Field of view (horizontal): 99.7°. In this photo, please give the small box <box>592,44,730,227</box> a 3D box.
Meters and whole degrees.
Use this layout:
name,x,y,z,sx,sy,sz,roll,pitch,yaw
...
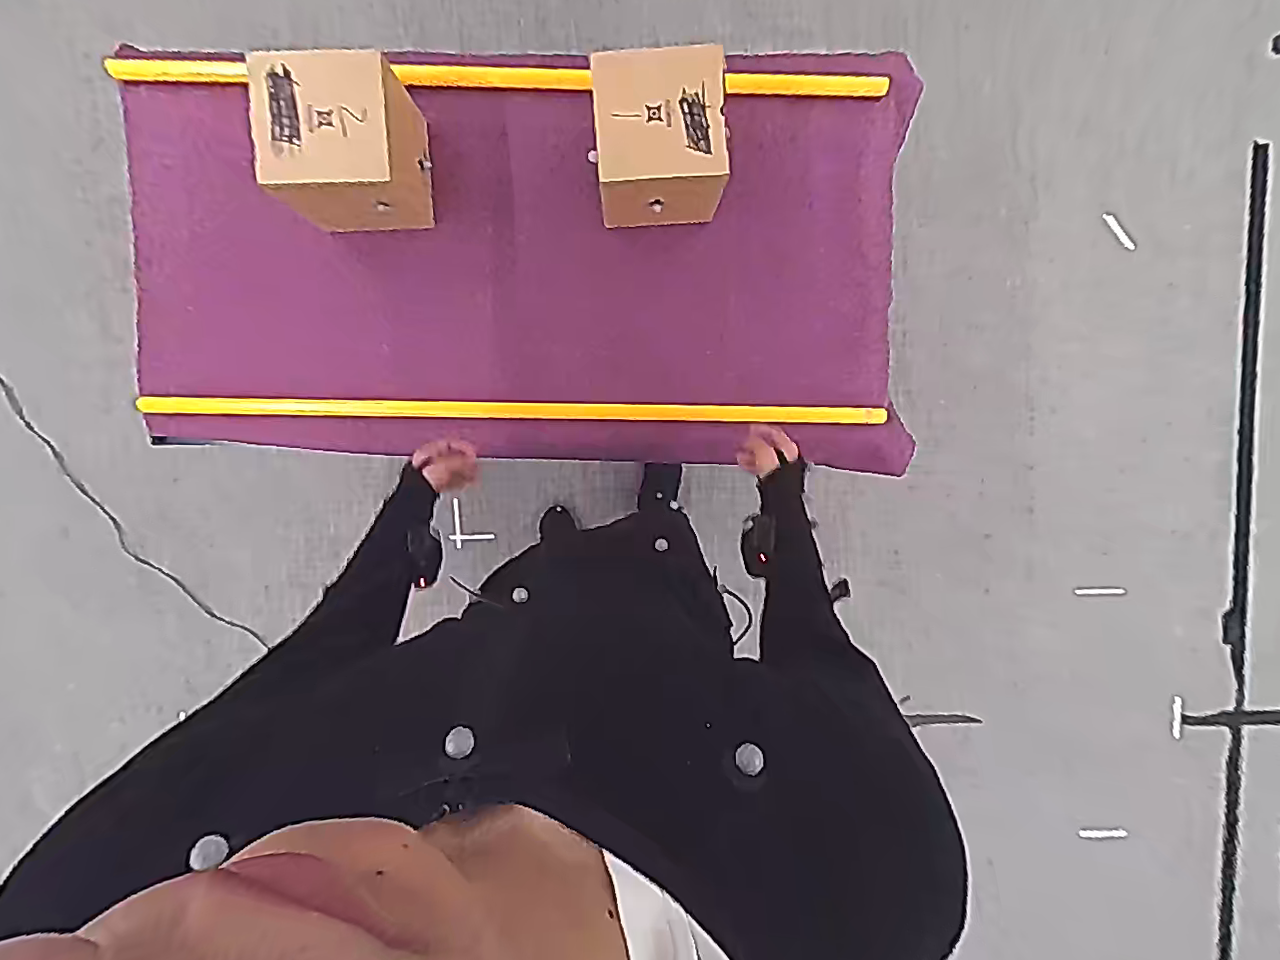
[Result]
name,x,y,z,sx,sy,sz,roll,pitch,yaw
small box,0.027,-0.484,0.782,0.179,0.176,0.168,-4,95,1
